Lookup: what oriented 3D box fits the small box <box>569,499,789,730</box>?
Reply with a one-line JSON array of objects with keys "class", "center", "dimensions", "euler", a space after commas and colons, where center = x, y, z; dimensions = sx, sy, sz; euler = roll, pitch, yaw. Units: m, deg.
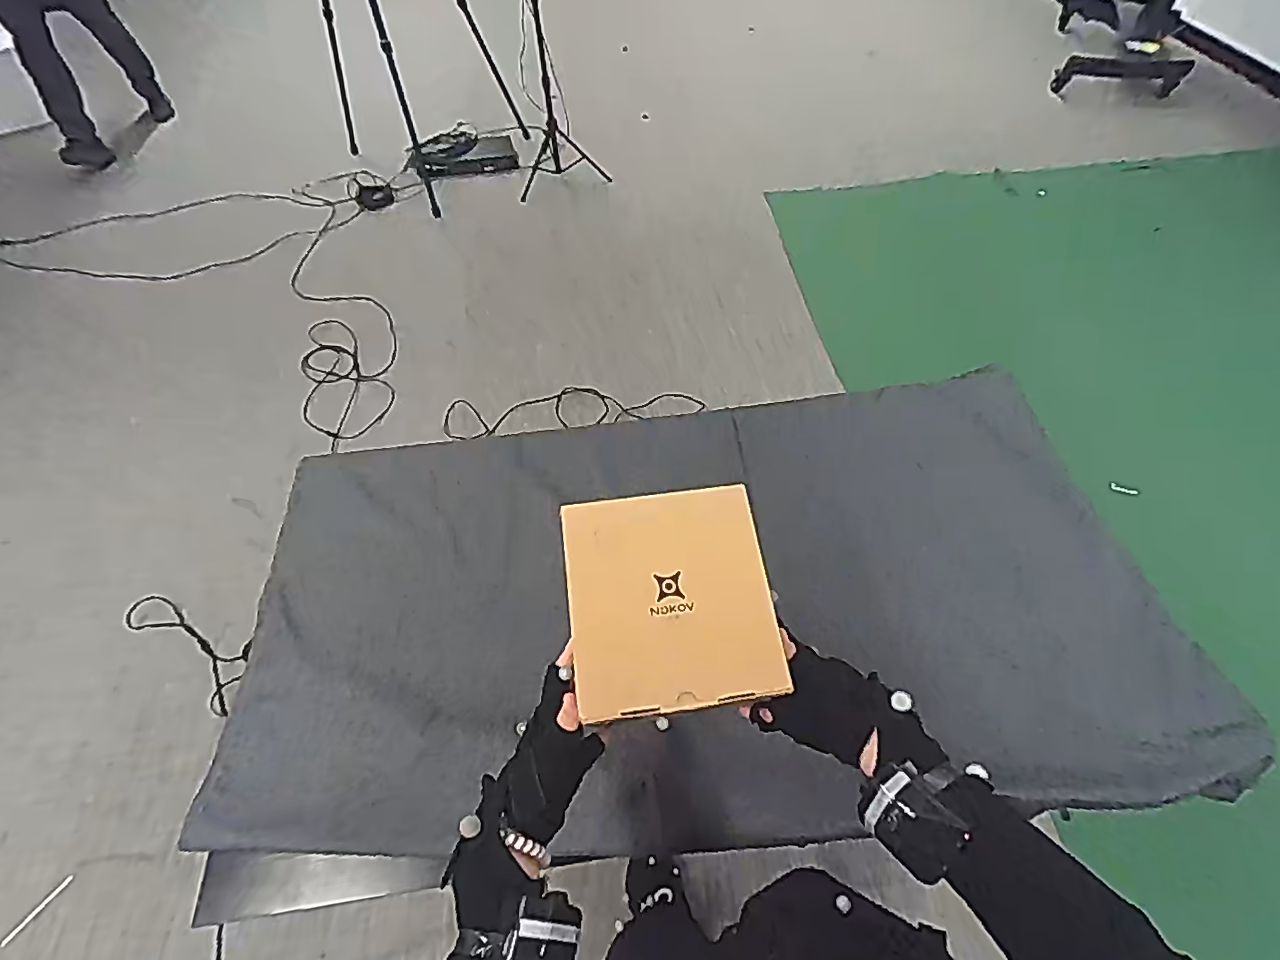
[{"class": "small box", "center": [0.022, 0.136, 0.521], "dimensions": [0.168, 0.176, 0.179], "euler": [-6, 66, -5]}]
